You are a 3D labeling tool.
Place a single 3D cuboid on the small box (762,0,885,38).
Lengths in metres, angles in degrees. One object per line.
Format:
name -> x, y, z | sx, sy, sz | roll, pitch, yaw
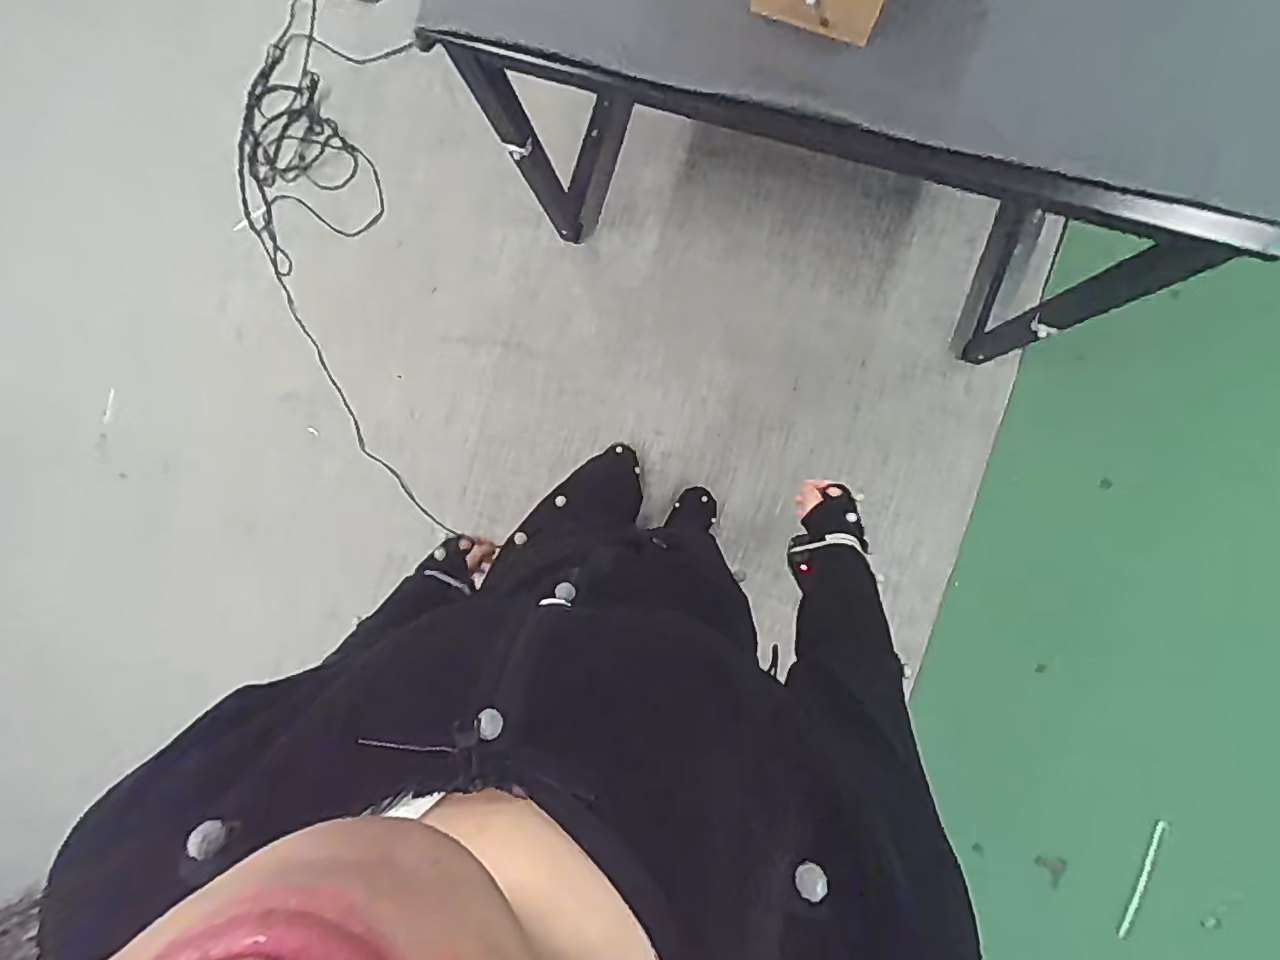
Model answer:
small box -> 0.252, -0.691, 0.639 | 0.168, 0.176, 0.179 | 24, 92, 7
